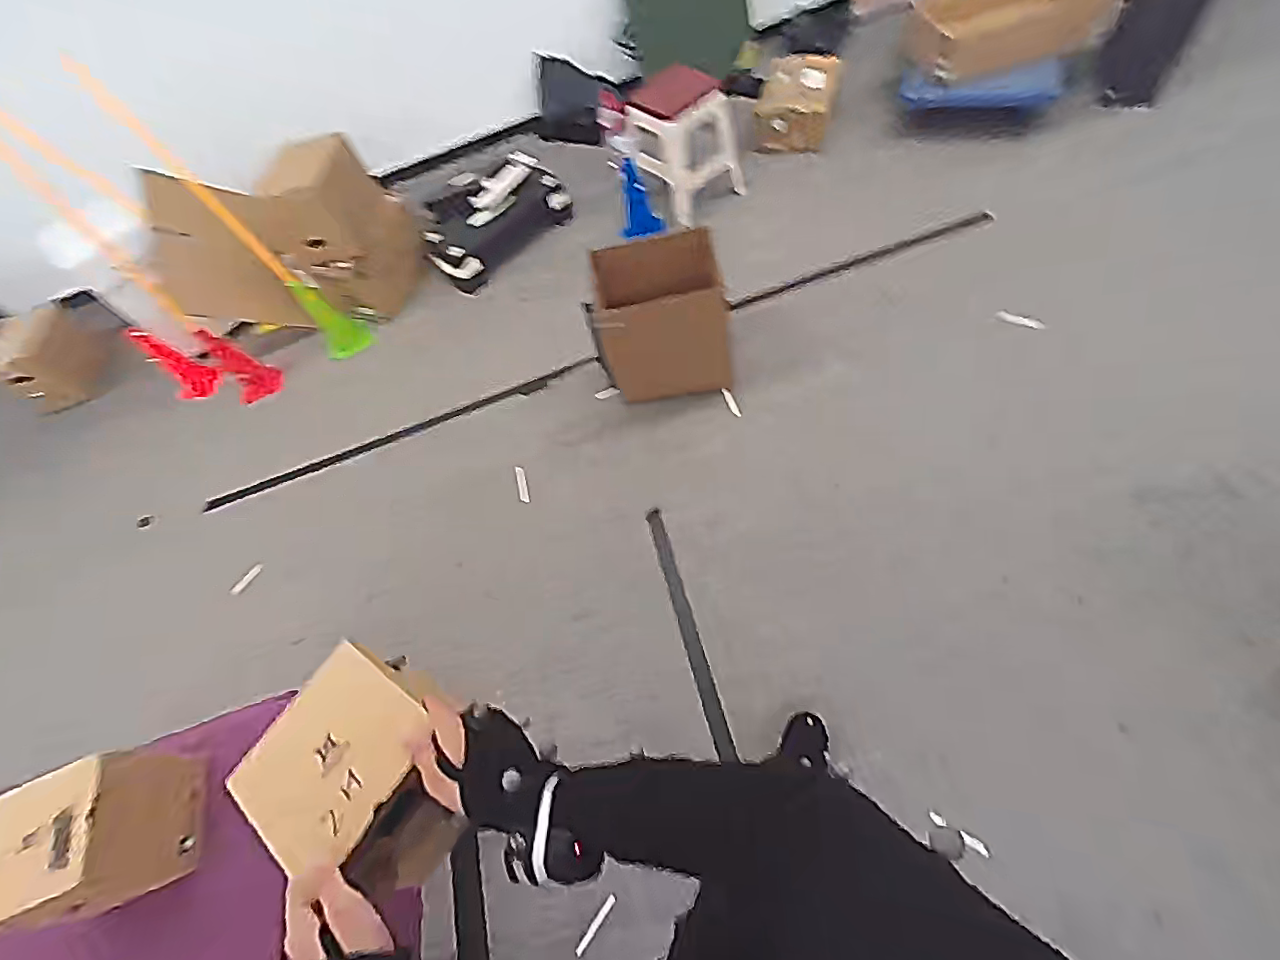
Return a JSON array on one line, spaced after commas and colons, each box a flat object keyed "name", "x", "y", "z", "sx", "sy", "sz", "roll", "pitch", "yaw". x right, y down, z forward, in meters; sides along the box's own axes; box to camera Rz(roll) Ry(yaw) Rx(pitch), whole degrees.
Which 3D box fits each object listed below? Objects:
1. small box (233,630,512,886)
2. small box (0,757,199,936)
[{"name": "small box", "x": -0.276, "y": 0.298, "z": 0.593, "sx": 0.179, "sy": 0.176, "sz": 0.168, "roll": 26, "pitch": 68, "yaw": 24}, {"name": "small box", "x": -0.786, "y": 0.516, "z": 0.777, "sx": 0.179, "sy": 0.176, "sz": 0.168, "roll": -24, "pitch": 59, "yaw": 1}]
